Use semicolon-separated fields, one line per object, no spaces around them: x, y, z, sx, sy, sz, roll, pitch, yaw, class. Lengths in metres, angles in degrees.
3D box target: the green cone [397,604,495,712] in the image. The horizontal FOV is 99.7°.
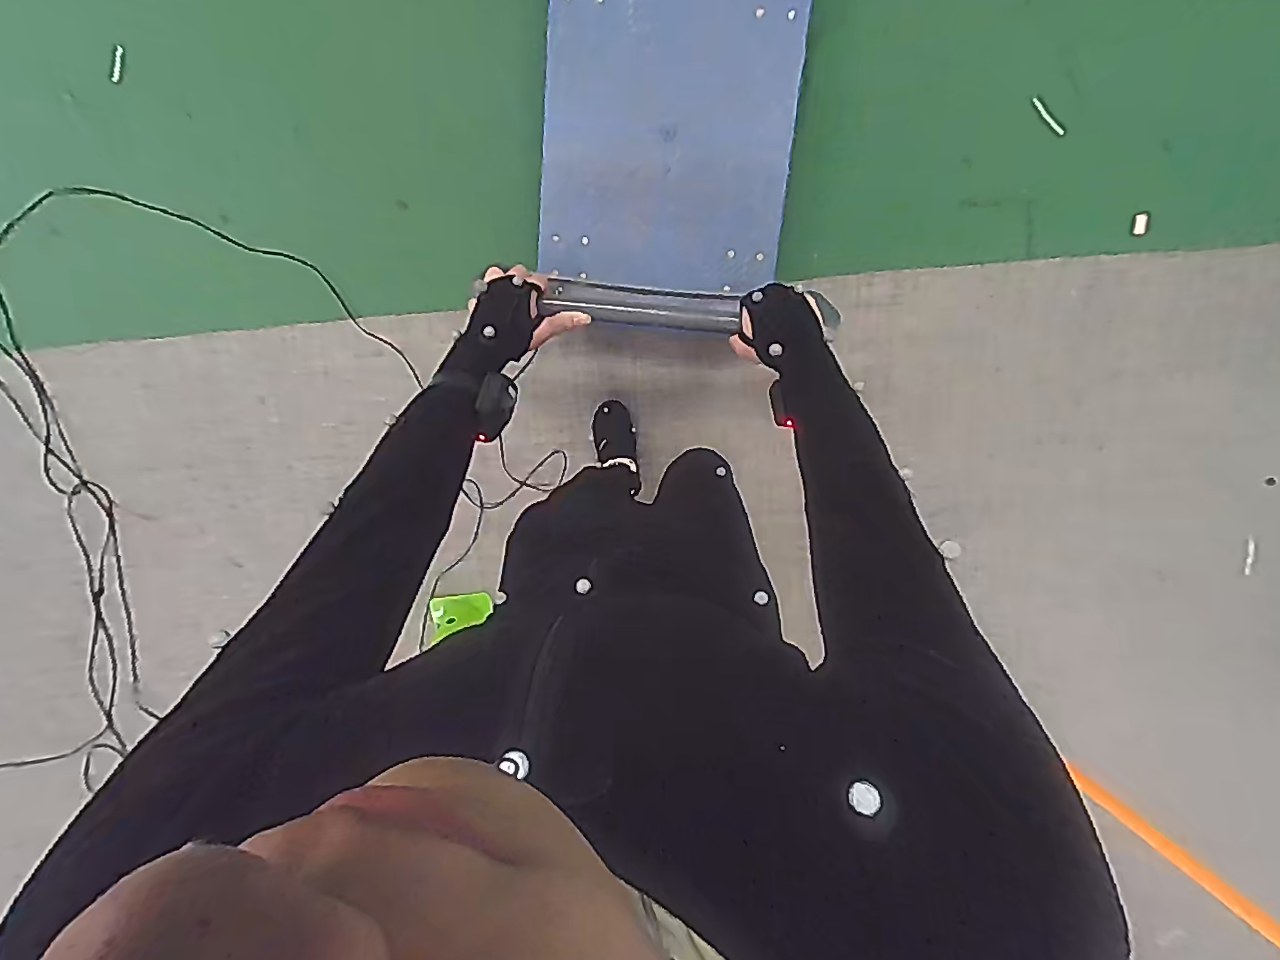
-0.576;0.524;1.529;0.202;0.368;0.200;-8;102;5;green cone
